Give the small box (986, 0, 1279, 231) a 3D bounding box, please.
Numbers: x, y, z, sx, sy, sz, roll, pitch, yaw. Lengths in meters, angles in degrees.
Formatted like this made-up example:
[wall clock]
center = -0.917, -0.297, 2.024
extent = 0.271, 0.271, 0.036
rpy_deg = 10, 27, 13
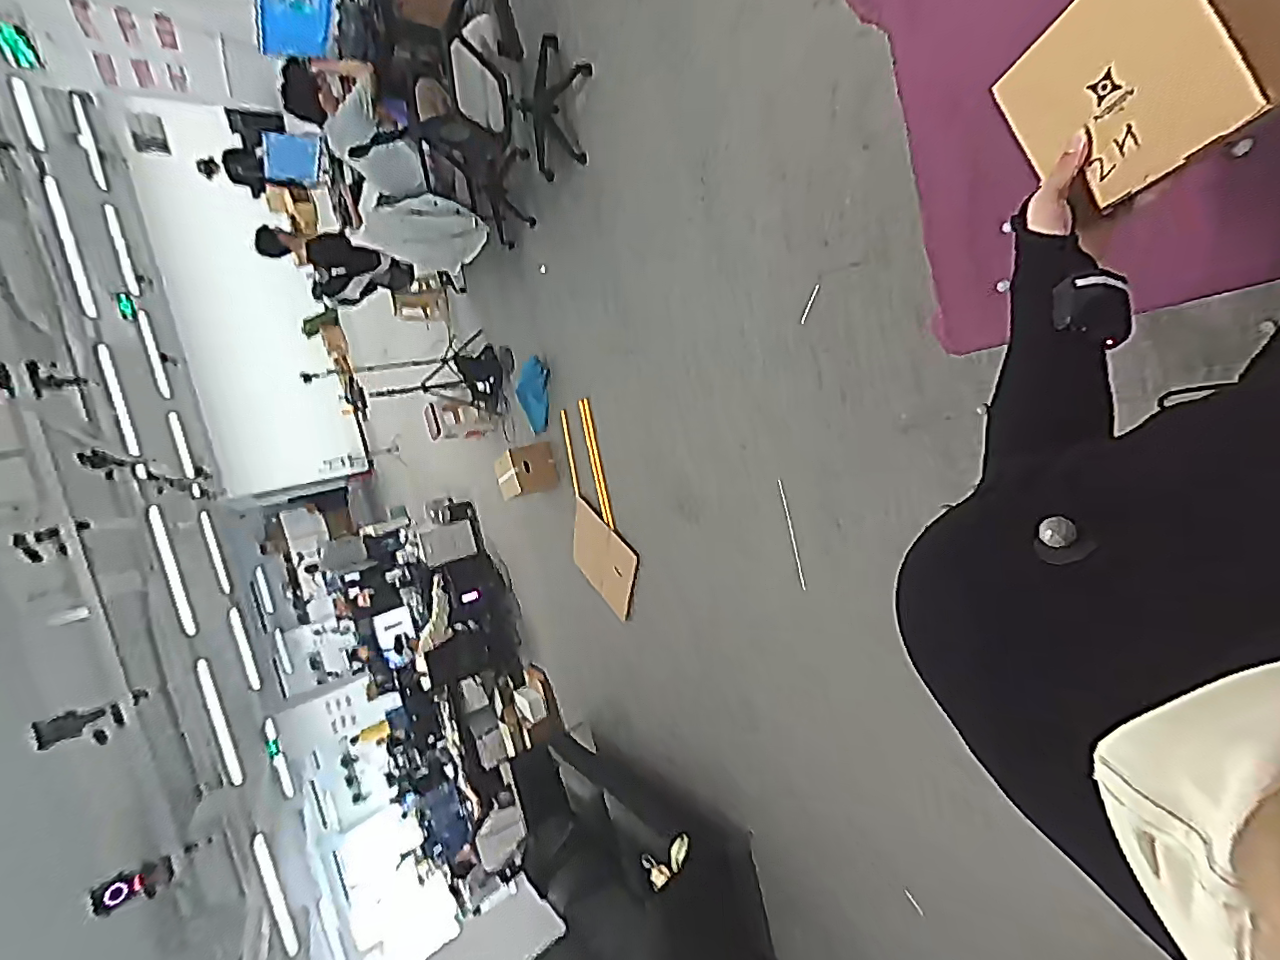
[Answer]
[small box]
center = 0.486, -0.379, 0.505
extent = 0.179, 0.176, 0.168
rpy_deg = 62, 170, 1
